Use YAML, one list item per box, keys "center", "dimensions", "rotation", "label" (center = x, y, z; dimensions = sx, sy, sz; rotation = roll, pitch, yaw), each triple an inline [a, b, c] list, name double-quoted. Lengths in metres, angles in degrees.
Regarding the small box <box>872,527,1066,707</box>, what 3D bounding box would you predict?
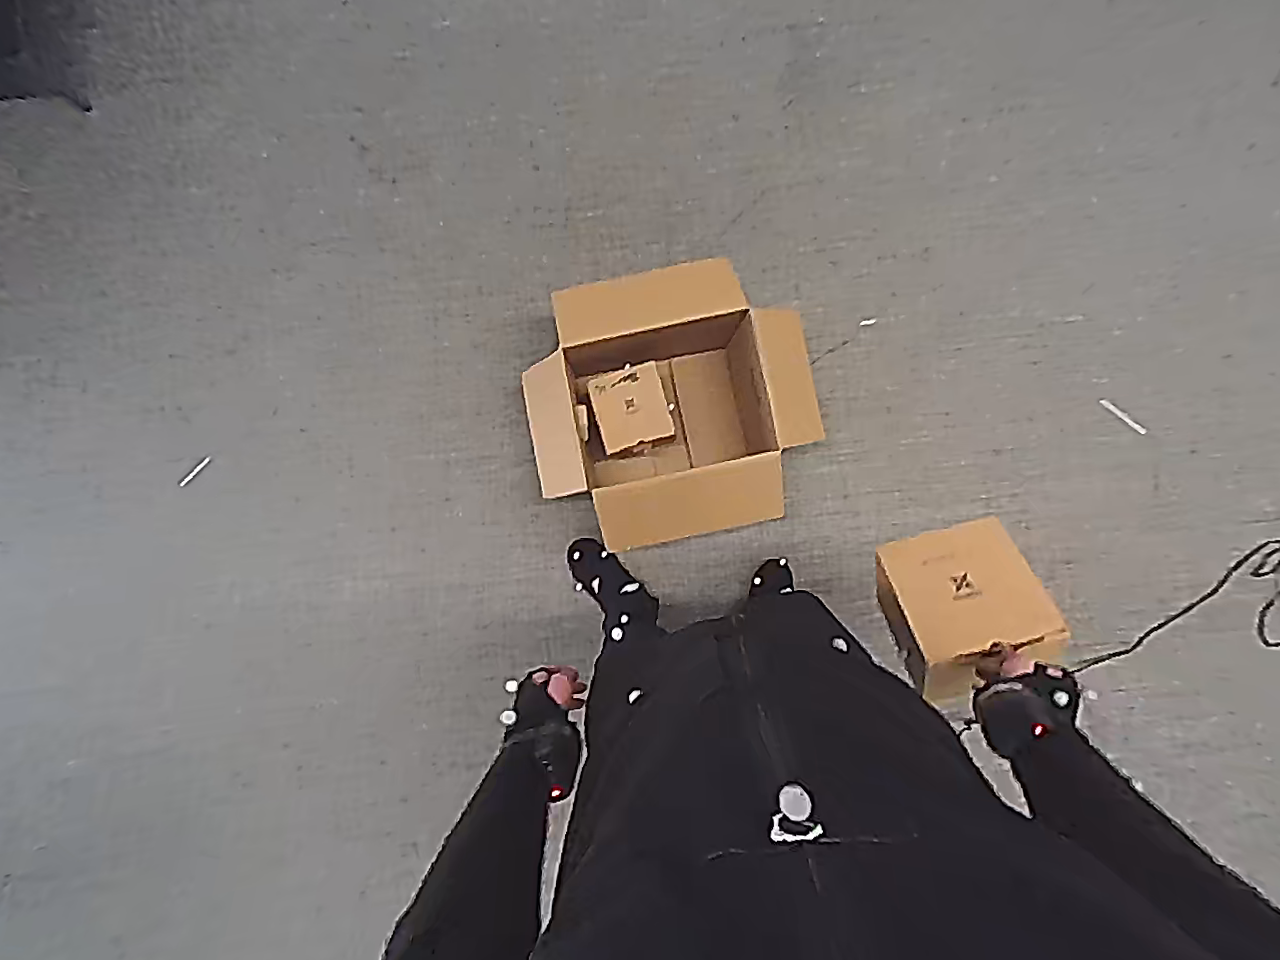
- center: [0.438, 0.198, 0.752]
  dimensions: [0.168, 0.176, 0.179]
  rotation: [-15, 44, 10]
  label: "small box"
